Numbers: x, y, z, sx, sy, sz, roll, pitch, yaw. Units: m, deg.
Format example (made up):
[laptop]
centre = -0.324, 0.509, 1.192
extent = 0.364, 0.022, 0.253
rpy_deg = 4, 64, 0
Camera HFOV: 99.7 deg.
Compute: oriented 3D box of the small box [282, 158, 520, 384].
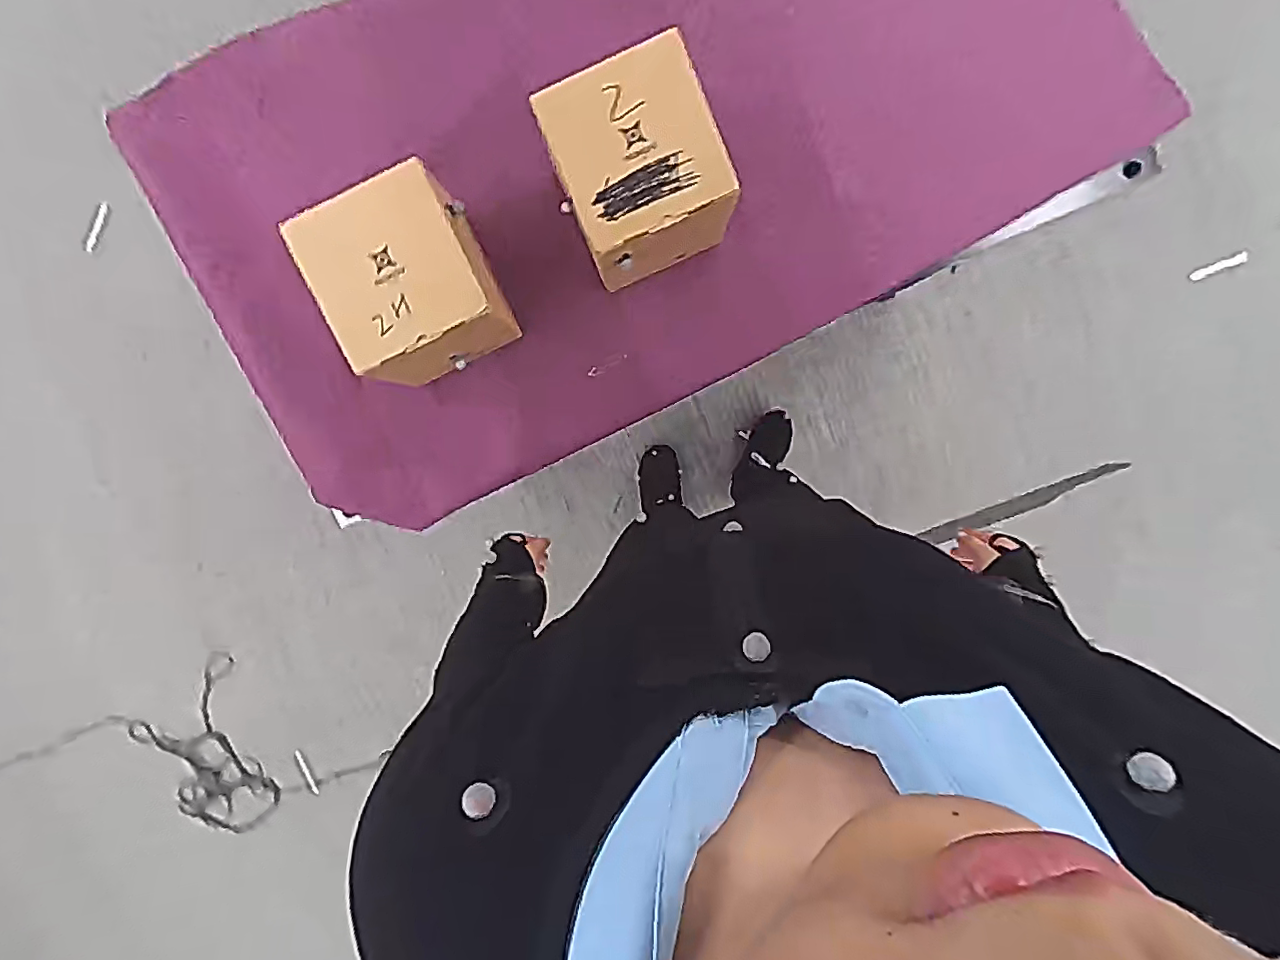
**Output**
[small box]
centre = -0.266, -0.230, 0.646
extent = 0.168, 0.176, 0.179
rpy_deg = -26, 95, 2
